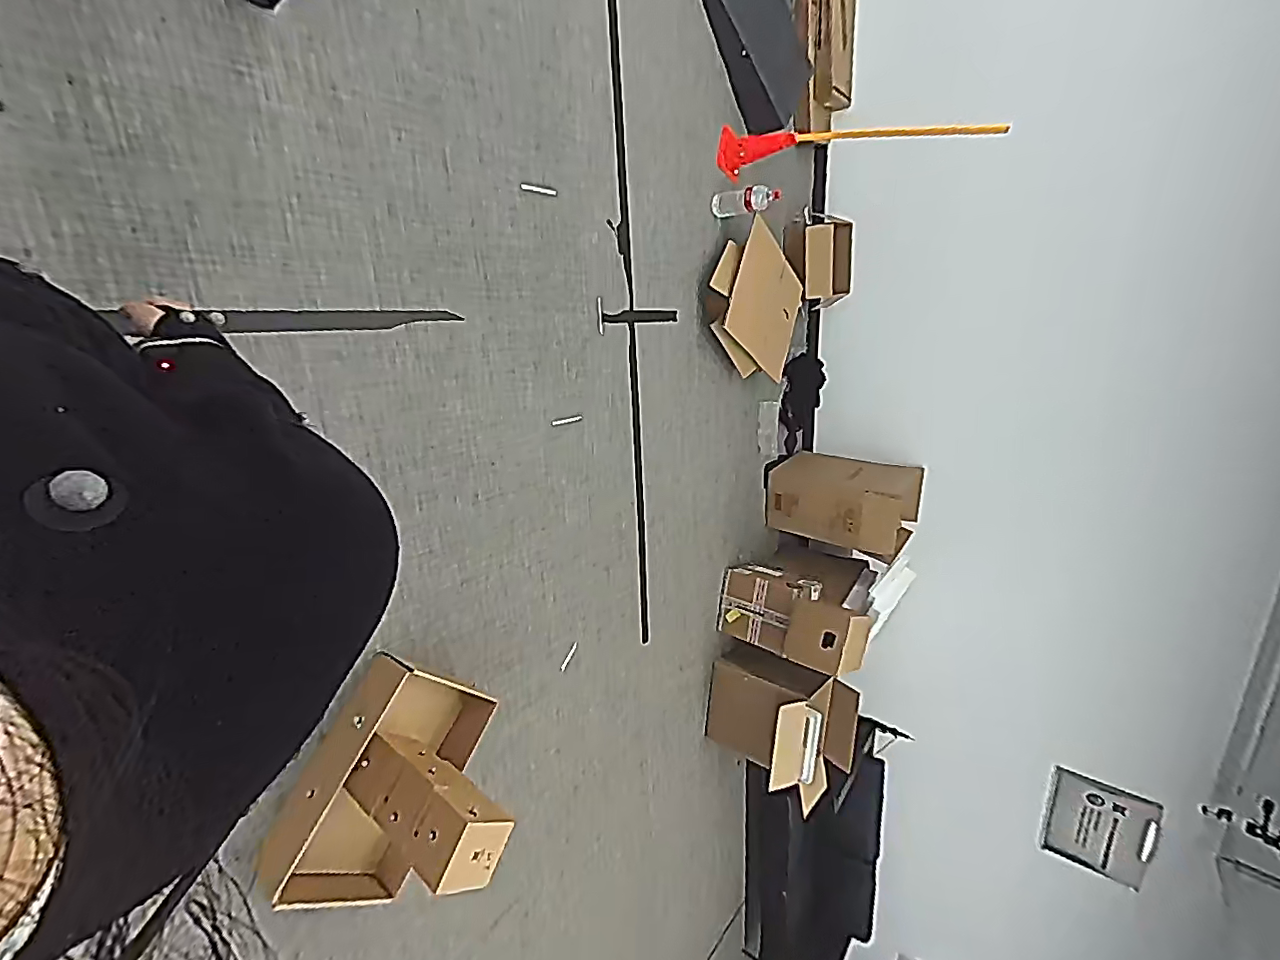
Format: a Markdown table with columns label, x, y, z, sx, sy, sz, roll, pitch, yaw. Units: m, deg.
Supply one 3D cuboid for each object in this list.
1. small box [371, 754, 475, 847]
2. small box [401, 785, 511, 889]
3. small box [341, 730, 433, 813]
| label | x | y | z | sx | sy | sz | roll | pitch | yaw |
| --- | --- | --- | --- | --- | --- | --- | --- | --- | --- |
| small box | -0.606 | 0.886 | 1.506 | 0.179 | 0.176 | 0.168 | 44 | 66 | -49 |
| small box | -0.480 | 0.917 | 1.404 | 0.179 | 0.176 | 0.168 | 42 | 68 | -48 |
| small box | -0.736 | 0.864 | 1.600 | 0.179 | 0.176 | 0.168 | 48 | 61 | -46 |
